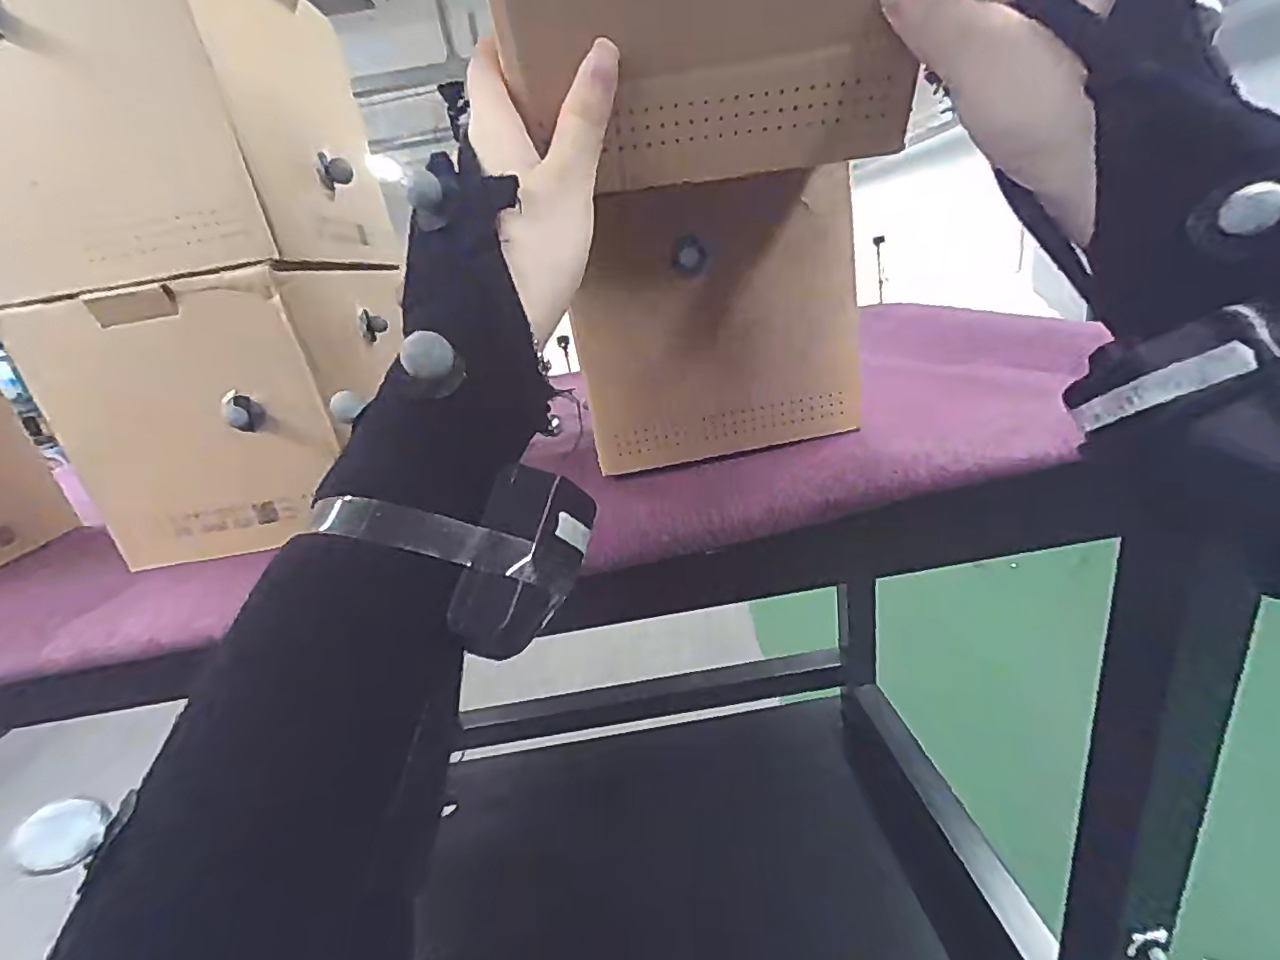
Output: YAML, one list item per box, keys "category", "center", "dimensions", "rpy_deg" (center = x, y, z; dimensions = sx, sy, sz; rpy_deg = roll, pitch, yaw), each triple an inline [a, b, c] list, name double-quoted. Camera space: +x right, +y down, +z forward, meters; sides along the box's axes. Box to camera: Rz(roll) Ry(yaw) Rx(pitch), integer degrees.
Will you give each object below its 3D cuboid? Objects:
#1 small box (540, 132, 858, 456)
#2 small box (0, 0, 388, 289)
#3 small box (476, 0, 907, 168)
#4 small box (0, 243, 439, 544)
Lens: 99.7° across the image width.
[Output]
- category: "small box"
  center: [0.040, -0.124, 0.396]
  dimensions: [0.179, 0.176, 0.168]
  rpy_deg: [-11, 19, 0]
- category: "small box"
  center: [-0.293, -0.215, 0.334]
  dimensions: [0.179, 0.176, 0.168]
  rpy_deg: [-9, 21, 2]
- category: "small box"
  center: [0.015, -0.256, 0.239]
  dimensions: [0.179, 0.176, 0.168]
  rpy_deg: [-7, 46, 0]
- category: "small box"
  center: [-0.267, -0.062, 0.390]
  dimensions: [0.168, 0.176, 0.179]
  rpy_deg: [-8, 20, 2]
